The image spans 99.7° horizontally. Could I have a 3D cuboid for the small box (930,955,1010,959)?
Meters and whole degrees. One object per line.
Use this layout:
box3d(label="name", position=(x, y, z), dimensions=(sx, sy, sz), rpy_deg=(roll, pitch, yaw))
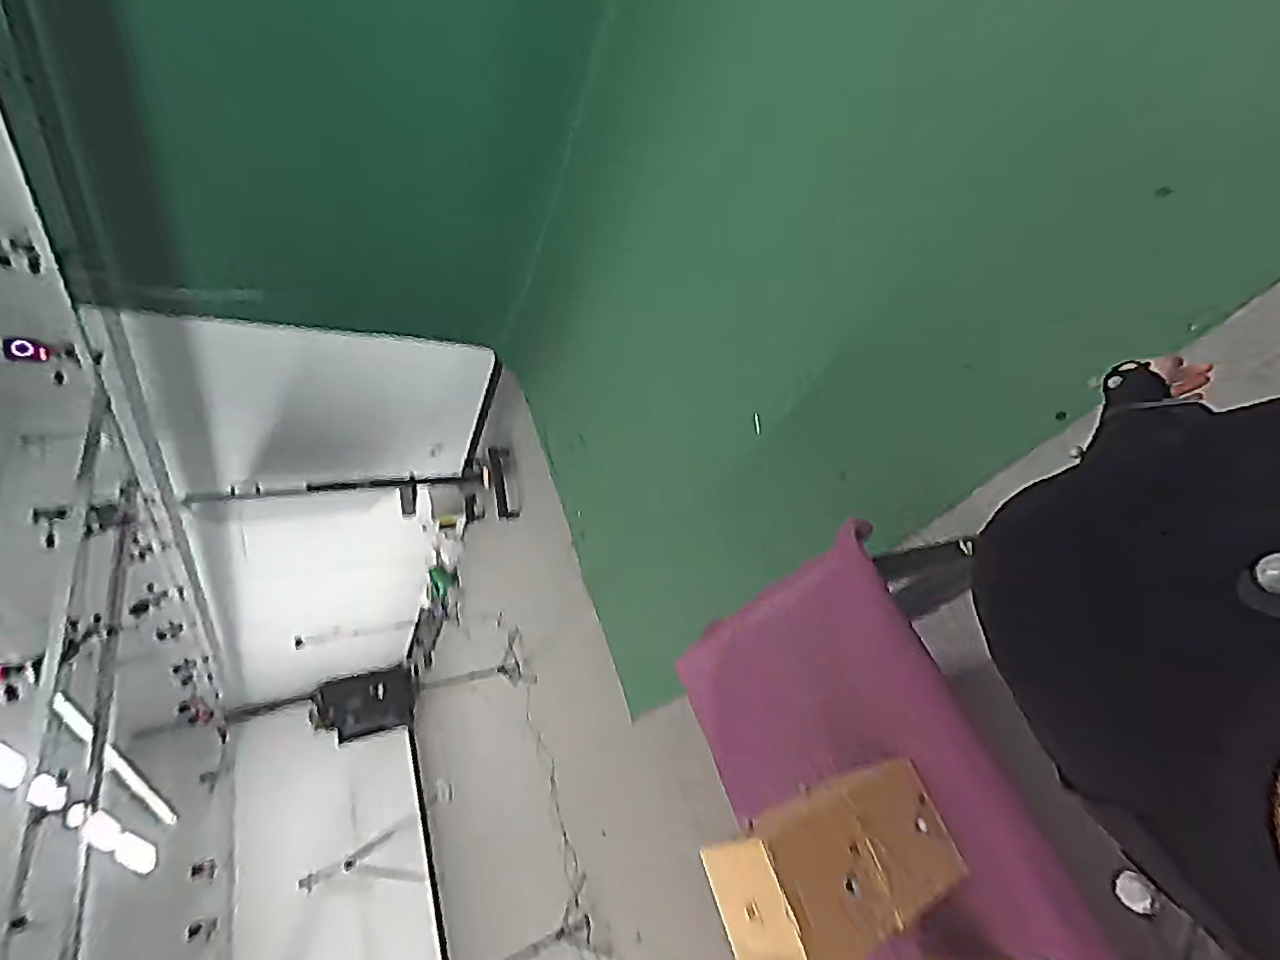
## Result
box3d(label="small box", position=(0.467, 0.793, 0.743), dimensions=(0.179, 0.176, 0.168), rpy_deg=(-54, 49, 44))

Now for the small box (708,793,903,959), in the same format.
box3d(label="small box", position=(0.234, 0.580, 0.785), dimensions=(0.179, 0.176, 0.168), rpy_deg=(-54, 49, 45))
